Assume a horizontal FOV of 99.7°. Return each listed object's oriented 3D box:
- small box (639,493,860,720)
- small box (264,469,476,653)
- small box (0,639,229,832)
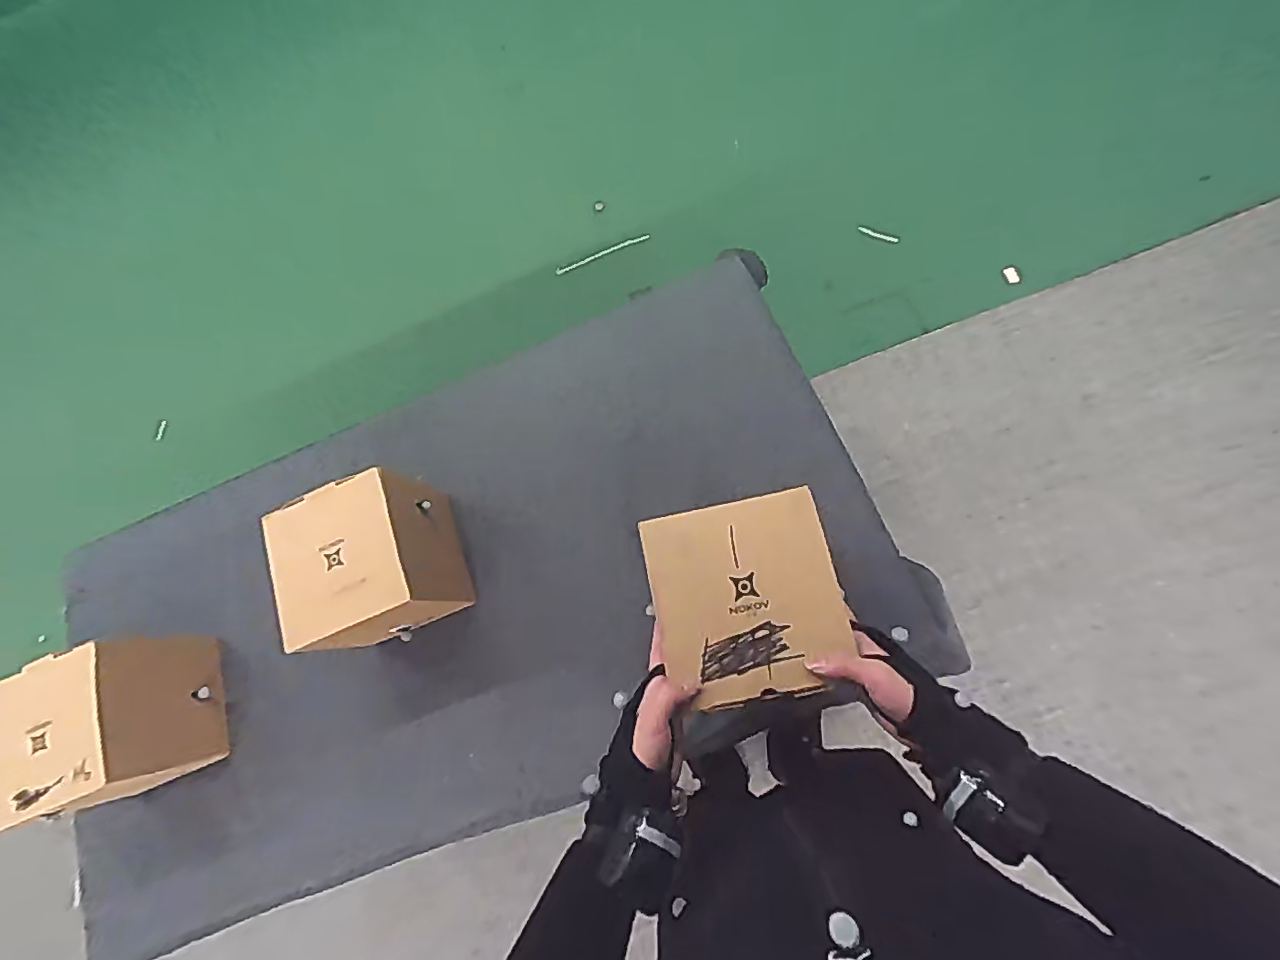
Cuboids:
[{"bbox_3d":[0.102,0.129,0.556,0.168,0.176,0.179,-12,73,3],"label":"small box"},{"bbox_3d":[-0.345,0.111,0.714,0.168,0.176,0.179,-24,75,4],"label":"small box"},{"bbox_3d":[-0.693,0.324,0.716,0.168,0.176,0.179,-23,73,3],"label":"small box"}]
